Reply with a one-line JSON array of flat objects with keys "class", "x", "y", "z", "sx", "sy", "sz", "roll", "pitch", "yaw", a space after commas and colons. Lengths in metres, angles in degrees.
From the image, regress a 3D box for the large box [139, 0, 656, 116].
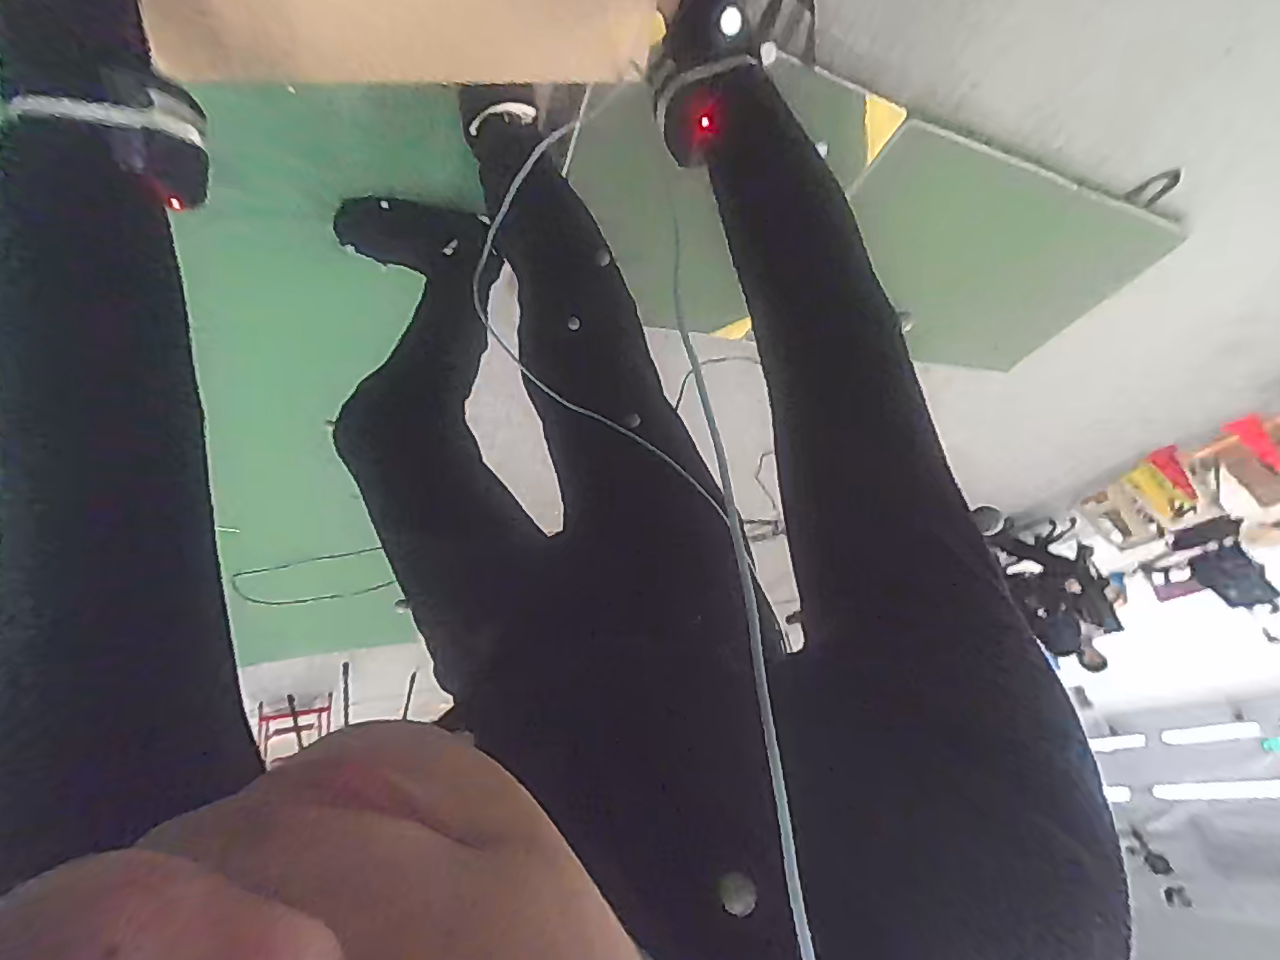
[{"class": "large box", "x": -0.213, "y": -0.544, "z": 0.429, "sx": 0.408, "sy": 0.320, "sz": 0.320, "roll": -16, "pitch": 154, "yaw": -19}]
